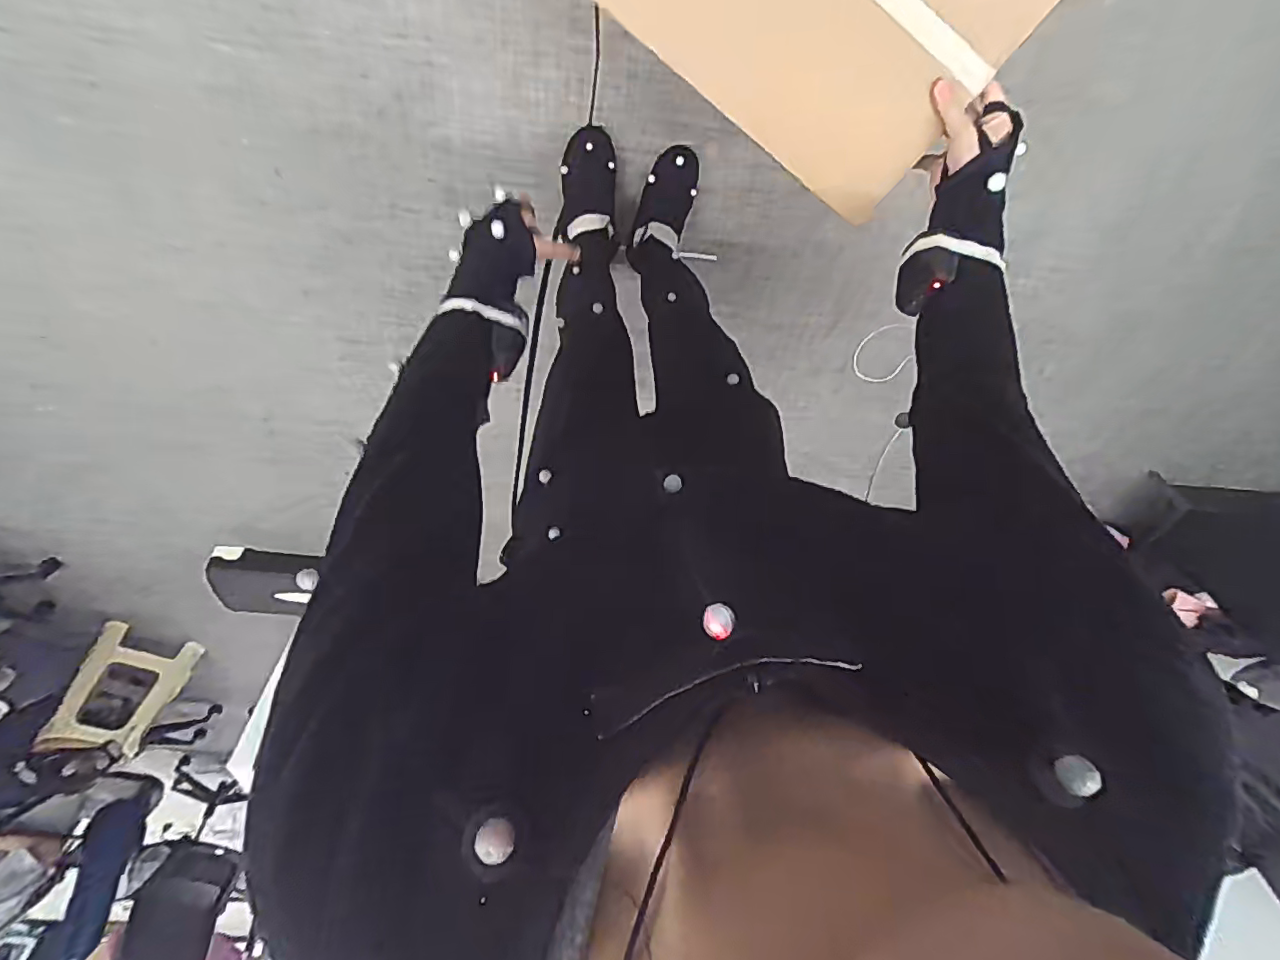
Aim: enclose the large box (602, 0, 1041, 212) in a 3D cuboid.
[{"bbox_3d":[0.219,-0.589,0.623,0.408,0.320,0.320,39,128,-5],"label":"large box"}]
